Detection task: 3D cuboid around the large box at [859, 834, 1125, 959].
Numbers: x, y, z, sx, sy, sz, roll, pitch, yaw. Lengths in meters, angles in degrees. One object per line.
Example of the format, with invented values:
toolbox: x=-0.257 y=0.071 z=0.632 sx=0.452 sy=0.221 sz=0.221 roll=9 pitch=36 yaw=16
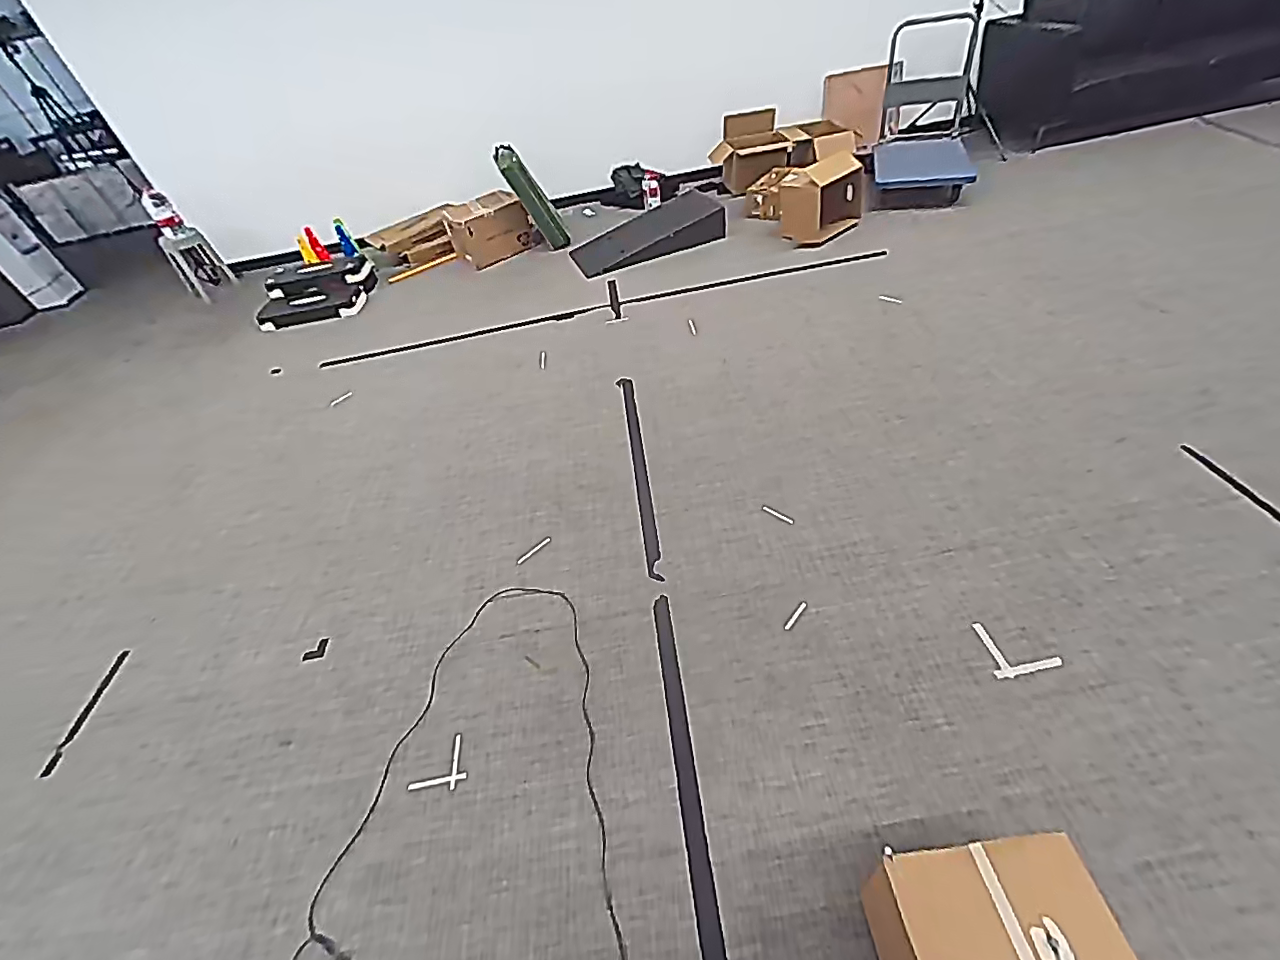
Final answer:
large box: x=0.604 y=0.876 z=0.893 sx=0.320 sy=0.320 sz=0.408 roll=-8 pitch=43 yaw=1
